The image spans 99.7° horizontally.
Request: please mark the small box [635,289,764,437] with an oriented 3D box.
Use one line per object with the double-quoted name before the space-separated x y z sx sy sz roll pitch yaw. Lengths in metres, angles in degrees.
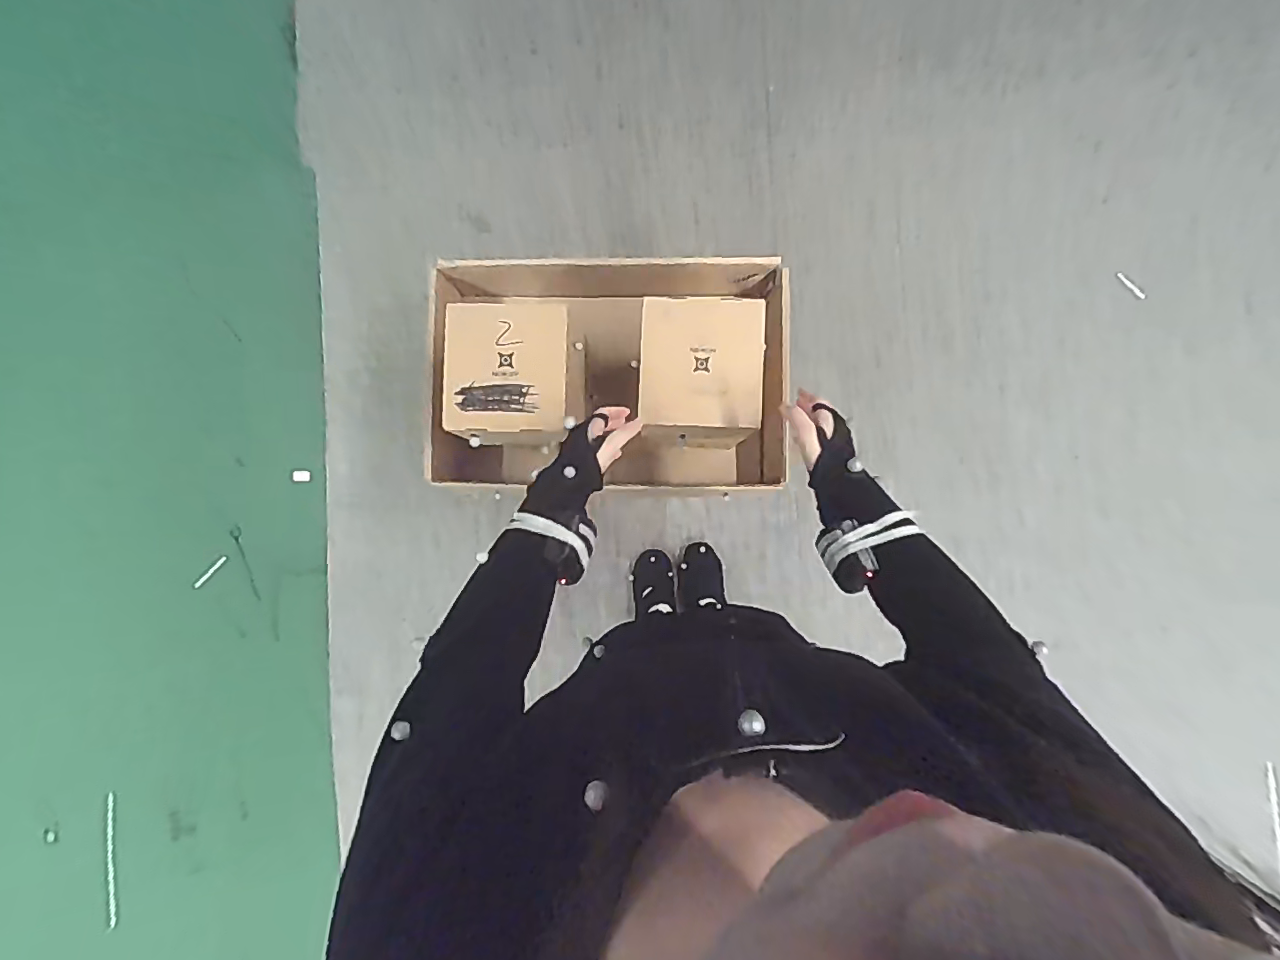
"small box" 0.082 -0.163 0.797 0.168 0.176 0.179 3 89 3
